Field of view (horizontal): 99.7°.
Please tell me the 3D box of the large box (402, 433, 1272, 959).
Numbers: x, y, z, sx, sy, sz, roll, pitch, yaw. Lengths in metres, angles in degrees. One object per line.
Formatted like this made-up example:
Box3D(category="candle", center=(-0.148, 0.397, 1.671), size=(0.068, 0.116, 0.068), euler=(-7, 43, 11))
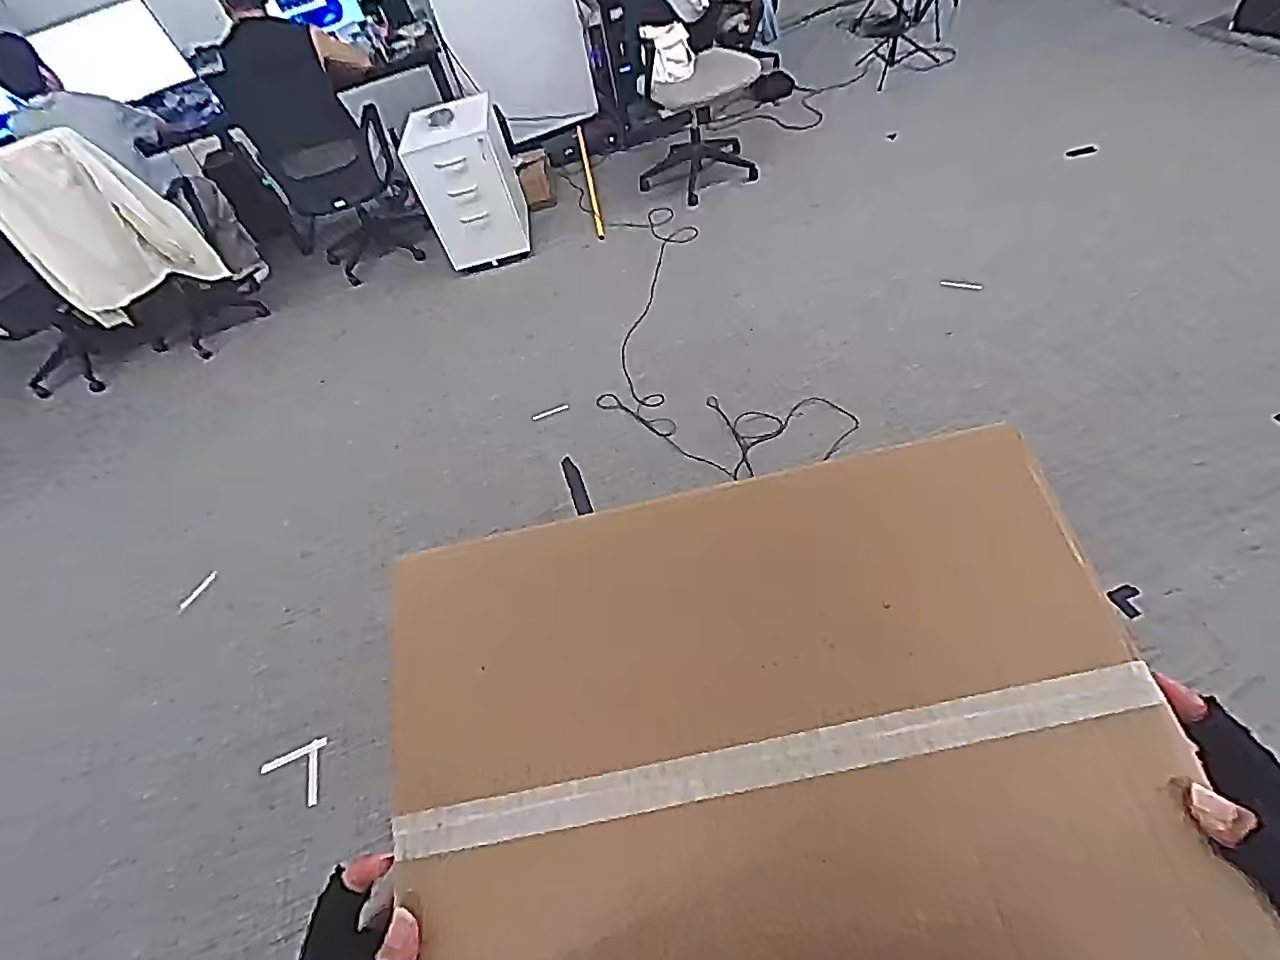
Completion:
Box3D(category="large box", center=(0.085, 0.206, 0.431), size=(0.408, 0.320, 0.320), euler=(-13, 66, 2))
